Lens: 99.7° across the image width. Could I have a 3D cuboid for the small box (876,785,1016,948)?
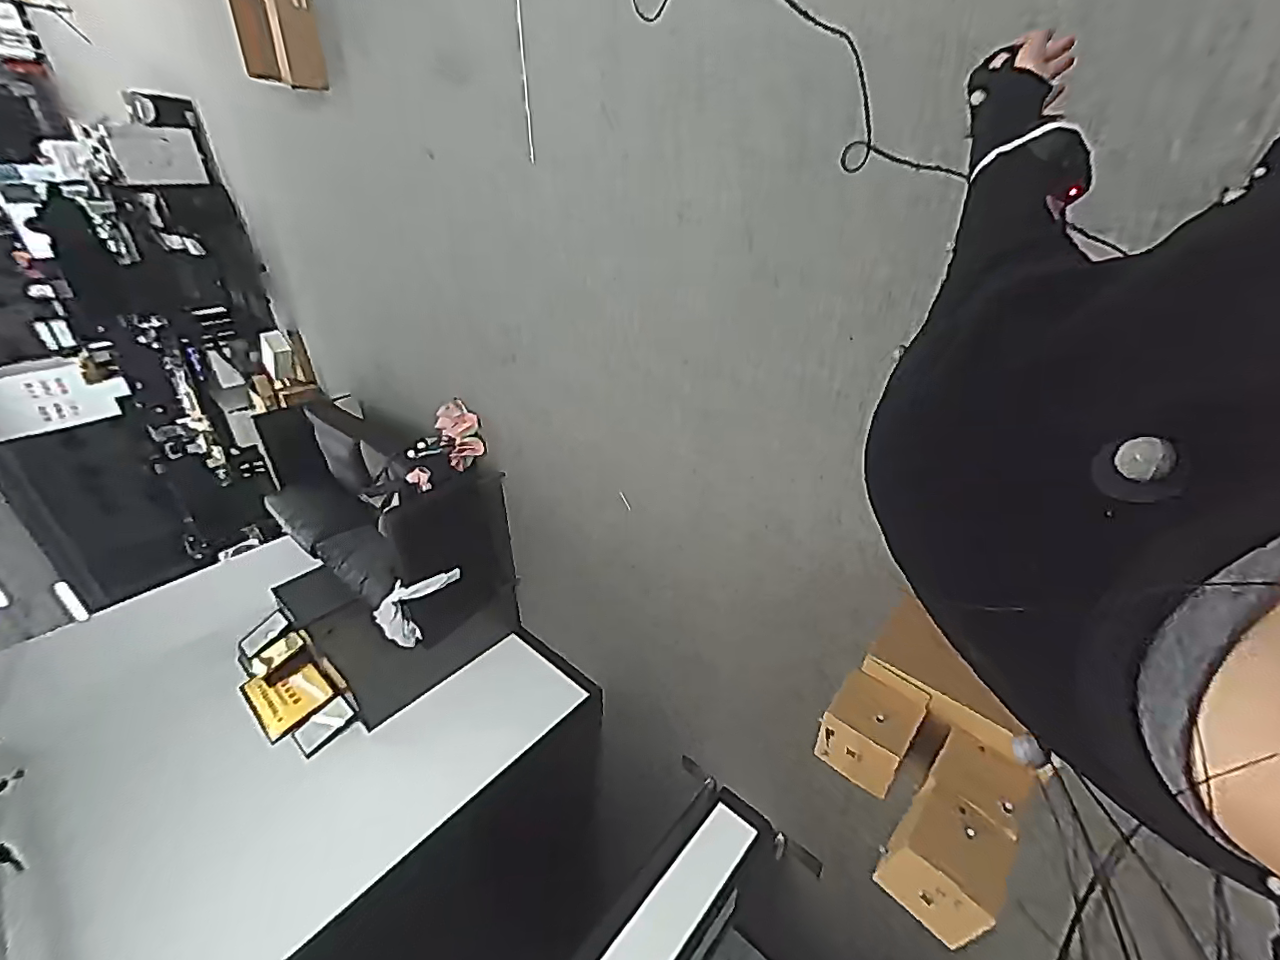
[{"bbox_3d":[0.605,0.755,1.068,0.168,0.176,0.179,33,132,30],"label":"small box"}]
